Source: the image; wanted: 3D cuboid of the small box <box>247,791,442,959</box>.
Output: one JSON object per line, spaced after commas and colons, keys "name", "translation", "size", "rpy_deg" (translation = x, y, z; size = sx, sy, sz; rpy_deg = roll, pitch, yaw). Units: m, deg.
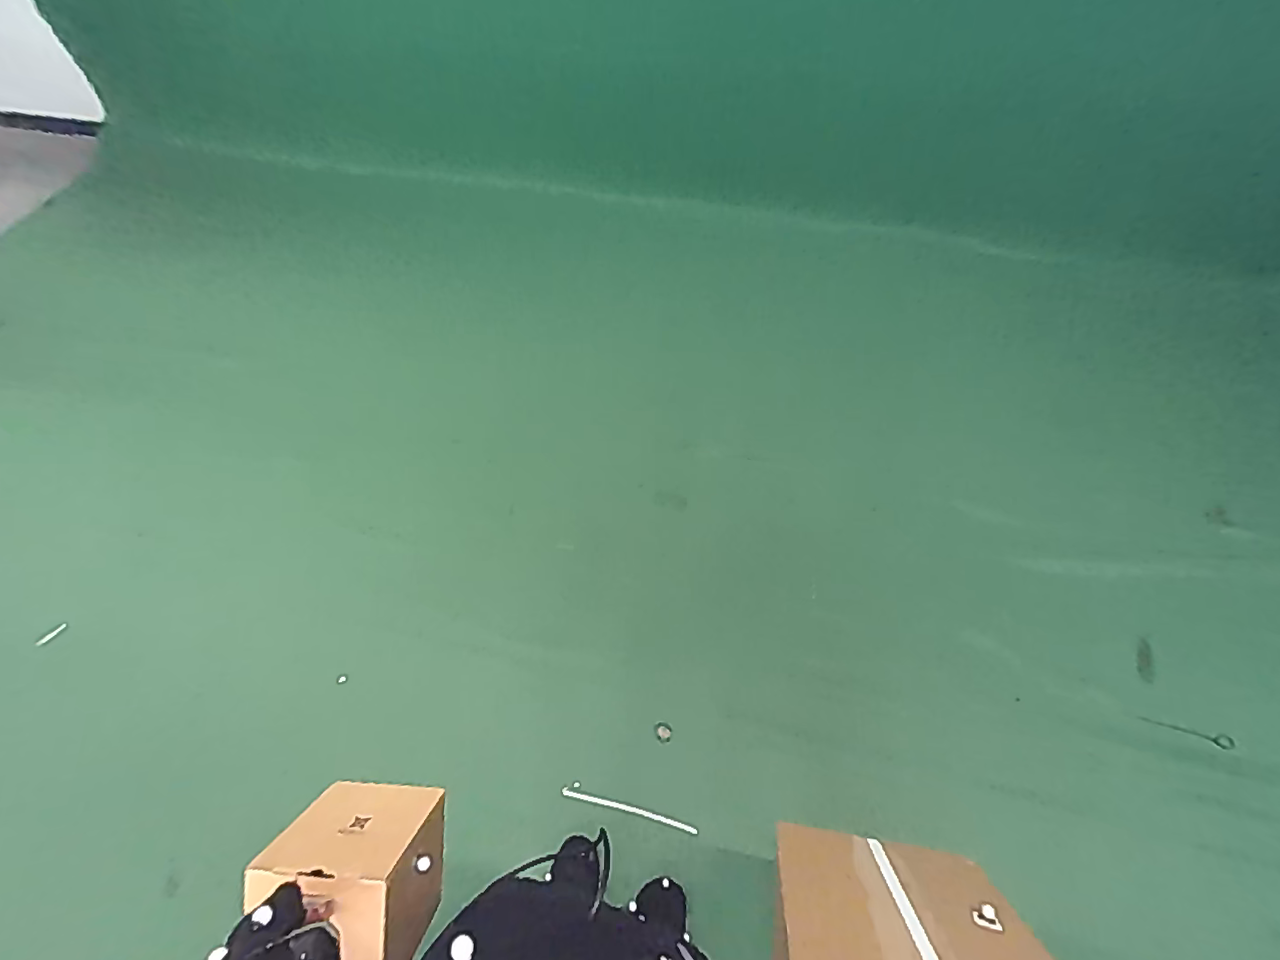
{"name": "small box", "translation": [-0.375, 0.541, 0.700], "size": [0.168, 0.179, 0.176], "rpy_deg": [3, 91, 1]}
